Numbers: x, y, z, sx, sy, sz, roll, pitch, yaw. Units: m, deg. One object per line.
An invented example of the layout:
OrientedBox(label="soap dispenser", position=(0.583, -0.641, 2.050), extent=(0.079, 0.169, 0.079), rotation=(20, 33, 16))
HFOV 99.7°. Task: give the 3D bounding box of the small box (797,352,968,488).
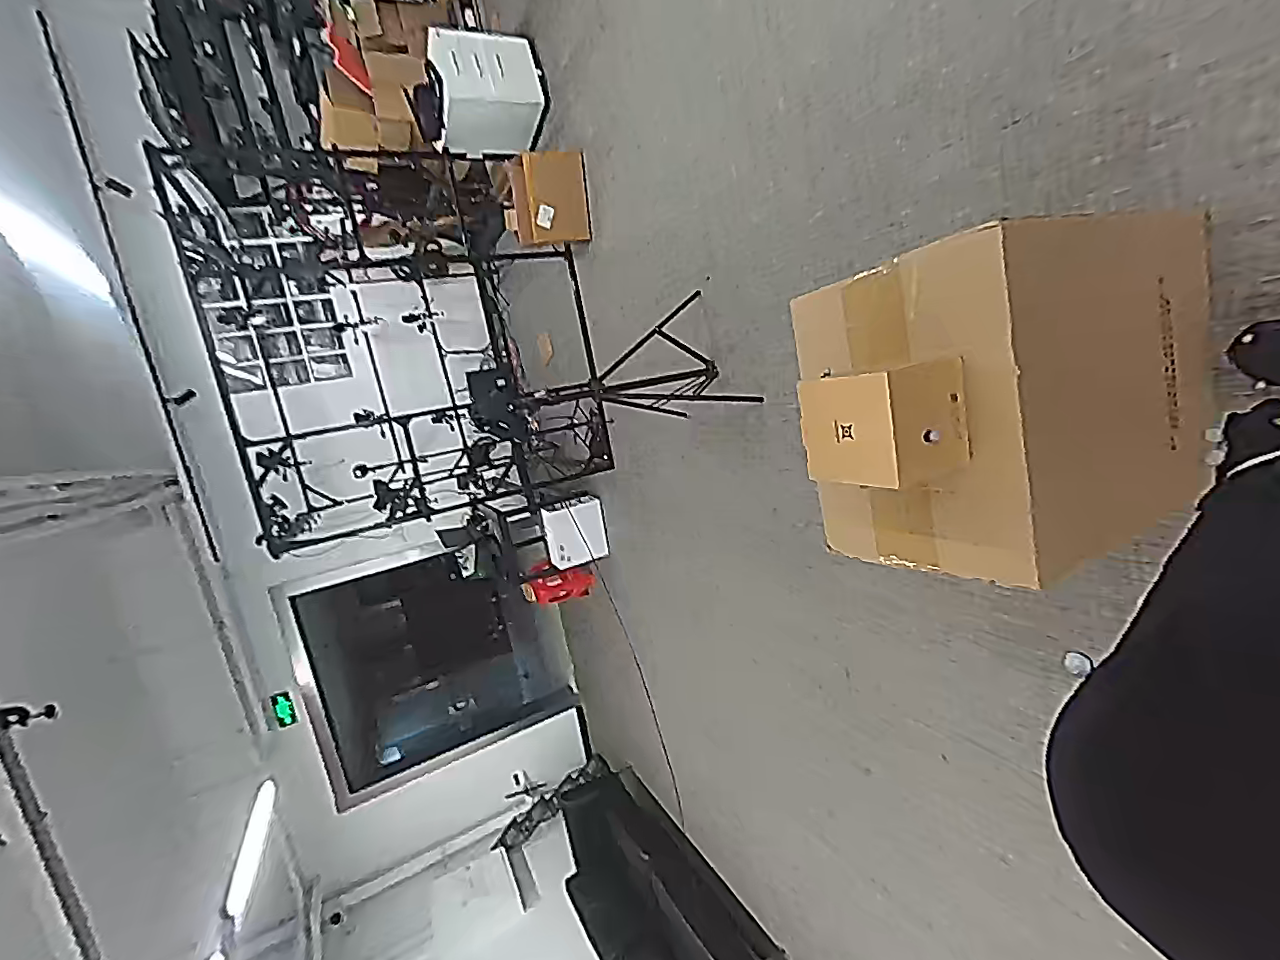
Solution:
OrientedBox(label="small box", position=(0.373, -0.093, 0.827), extent=(0.179, 0.176, 0.168), rotation=(9, 113, 64))
